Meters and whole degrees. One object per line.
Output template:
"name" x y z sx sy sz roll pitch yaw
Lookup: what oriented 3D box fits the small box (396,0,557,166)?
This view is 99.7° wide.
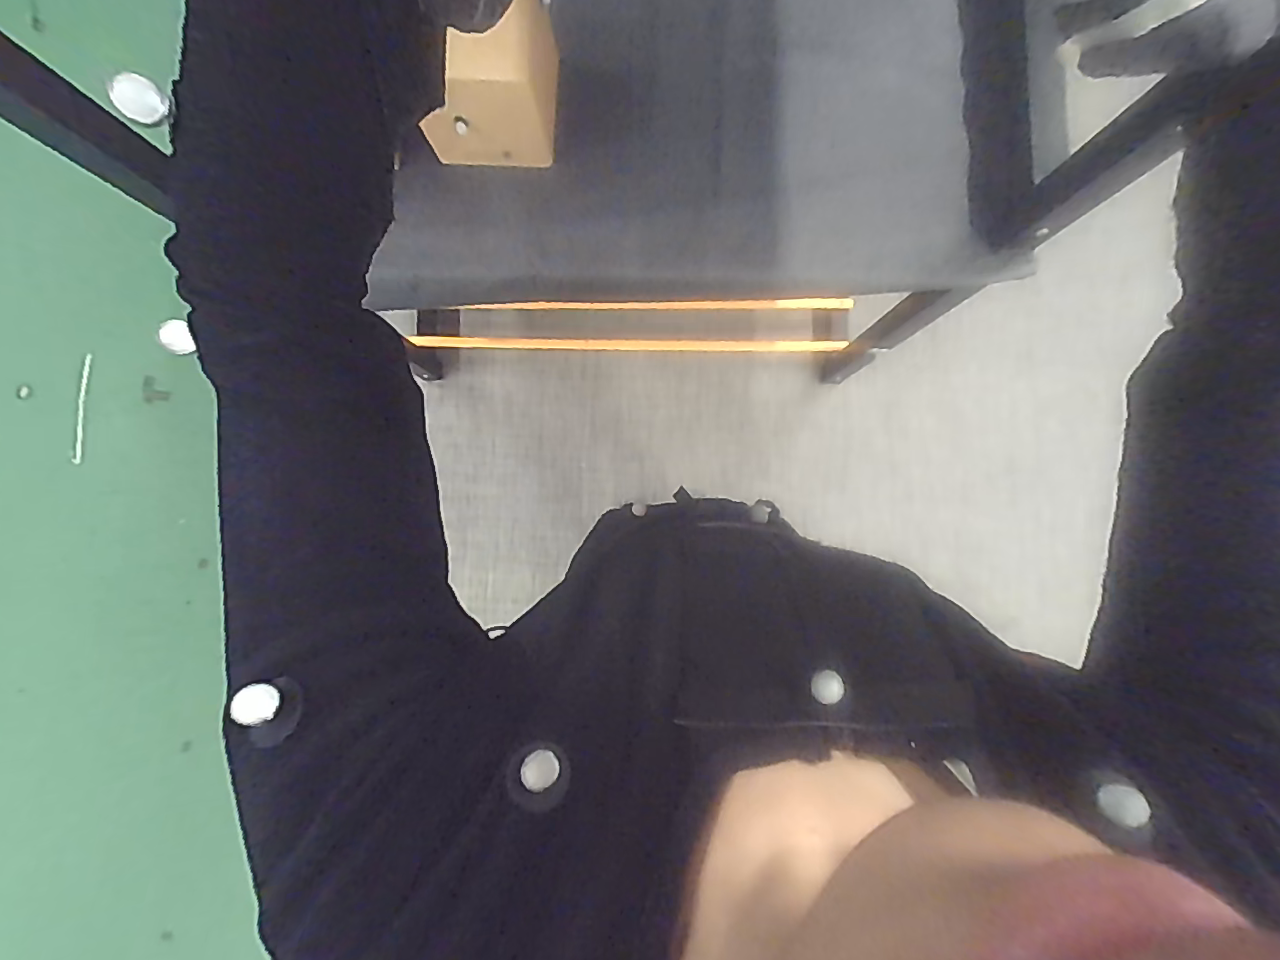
"small box" -0.210 -0.559 0.735 0.168 0.176 0.179 2 86 0
